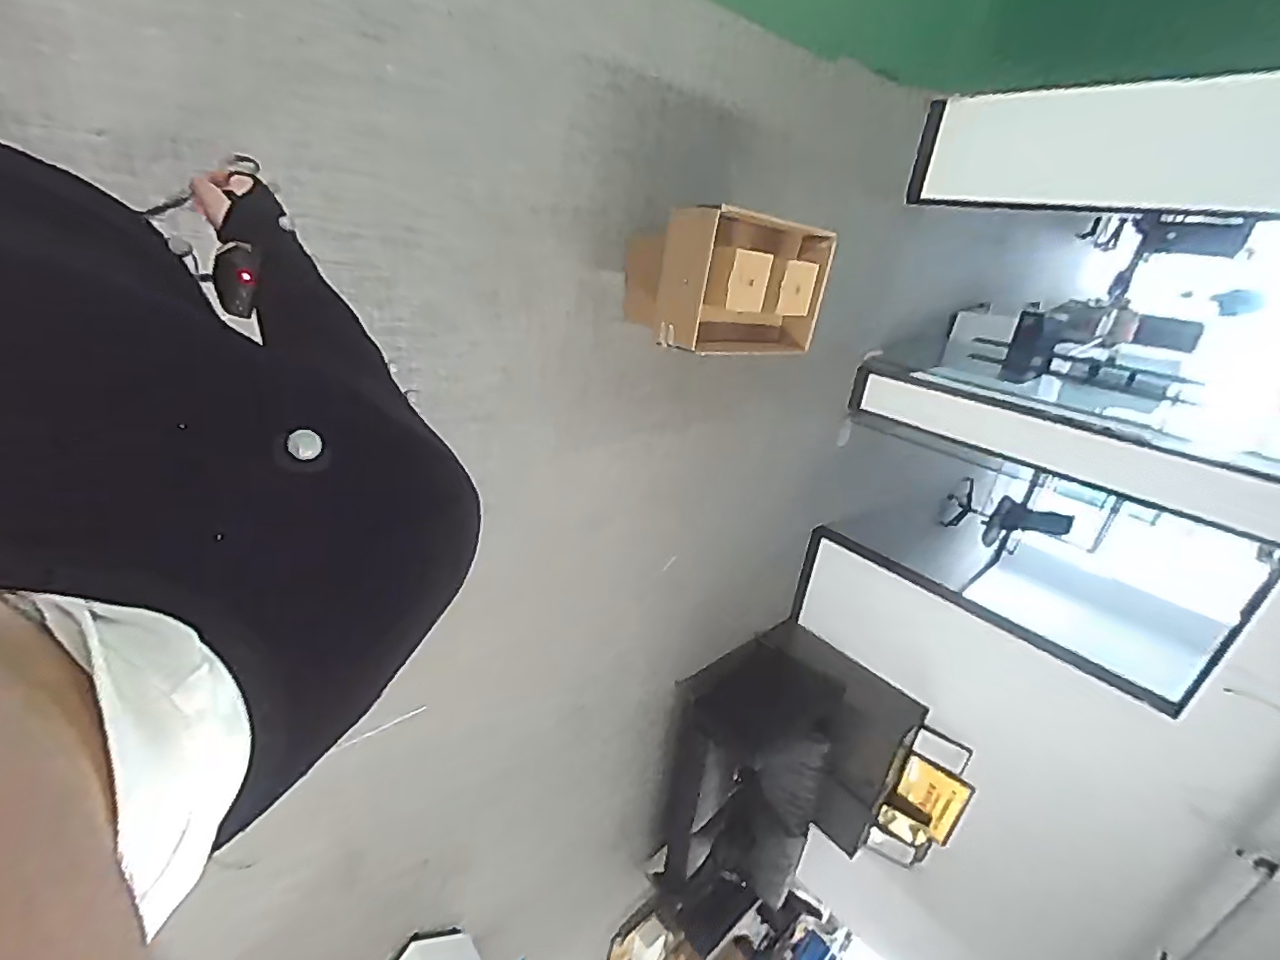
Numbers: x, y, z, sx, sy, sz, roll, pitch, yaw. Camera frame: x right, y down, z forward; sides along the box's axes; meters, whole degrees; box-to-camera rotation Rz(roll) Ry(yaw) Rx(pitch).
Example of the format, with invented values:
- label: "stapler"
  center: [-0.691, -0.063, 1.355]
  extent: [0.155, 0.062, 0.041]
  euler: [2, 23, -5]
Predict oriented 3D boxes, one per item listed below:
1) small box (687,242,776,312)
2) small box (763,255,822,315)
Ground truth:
- label: "small box"
  center: [0.266, -0.600, 1.594]
  extent: [0.179, 0.176, 0.168]
  euler: [-12, 120, -41]
- label: "small box"
  center: [0.454, -0.641, 1.763]
  extent: [0.179, 0.176, 0.168]
  euler: [-12, 121, -38]
